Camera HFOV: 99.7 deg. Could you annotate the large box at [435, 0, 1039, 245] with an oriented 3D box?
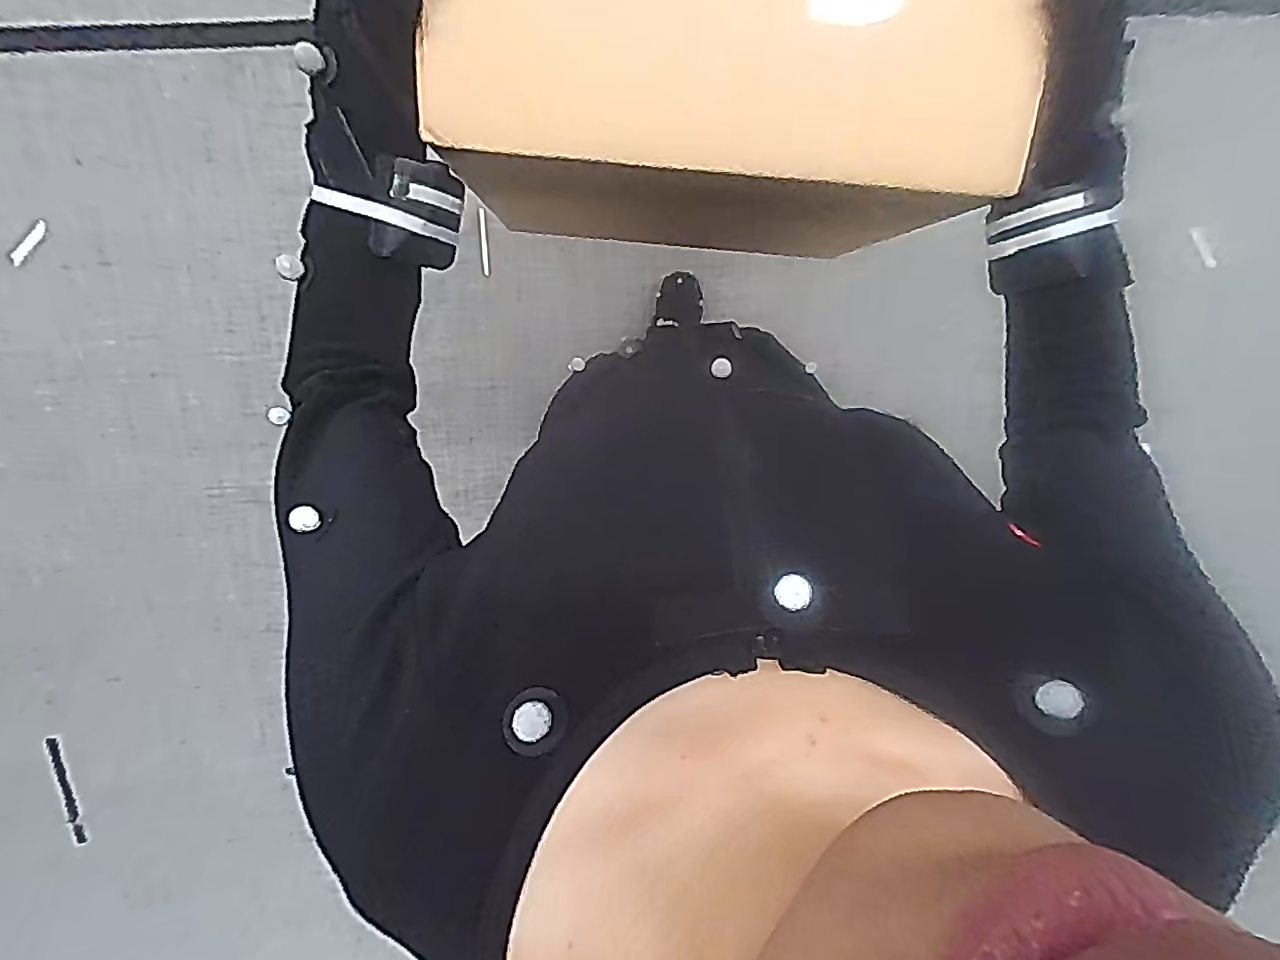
[{"bbox_3d":[0.060,-0.408,0.479,0.408,0.320,0.320,2,105,-5],"label":"large box"}]
